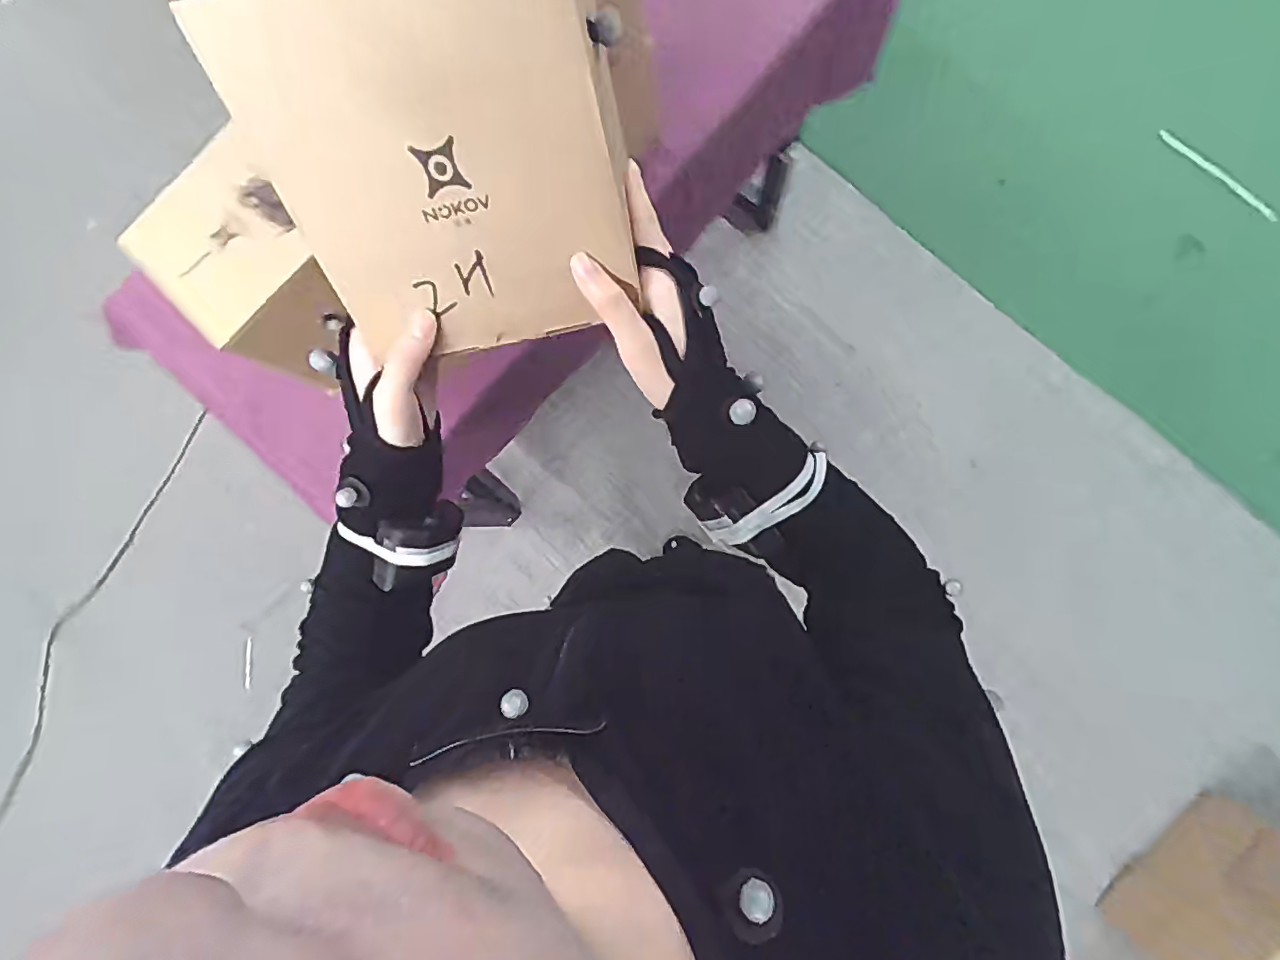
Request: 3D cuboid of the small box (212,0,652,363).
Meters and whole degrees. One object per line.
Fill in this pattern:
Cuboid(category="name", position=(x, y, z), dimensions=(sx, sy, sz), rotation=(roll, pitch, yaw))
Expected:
Cuboid(category="small box", position=(-0.089, -0.200, 0.333), dimensions=(0.168, 0.179, 0.176), rotation=(-8, 41, 7))

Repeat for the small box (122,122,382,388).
Cuboid(category="small box", position=(-0.387, -0.230, 0.601), dimensions=(0.168, 0.176, 0.179), rotation=(43, 91, 7))

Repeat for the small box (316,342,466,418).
Cuboid(category="small box", position=(-0.375, -0.210, 0.763), dimensions=(0.168, 0.176, 0.179), rotation=(44, 89, 7))
